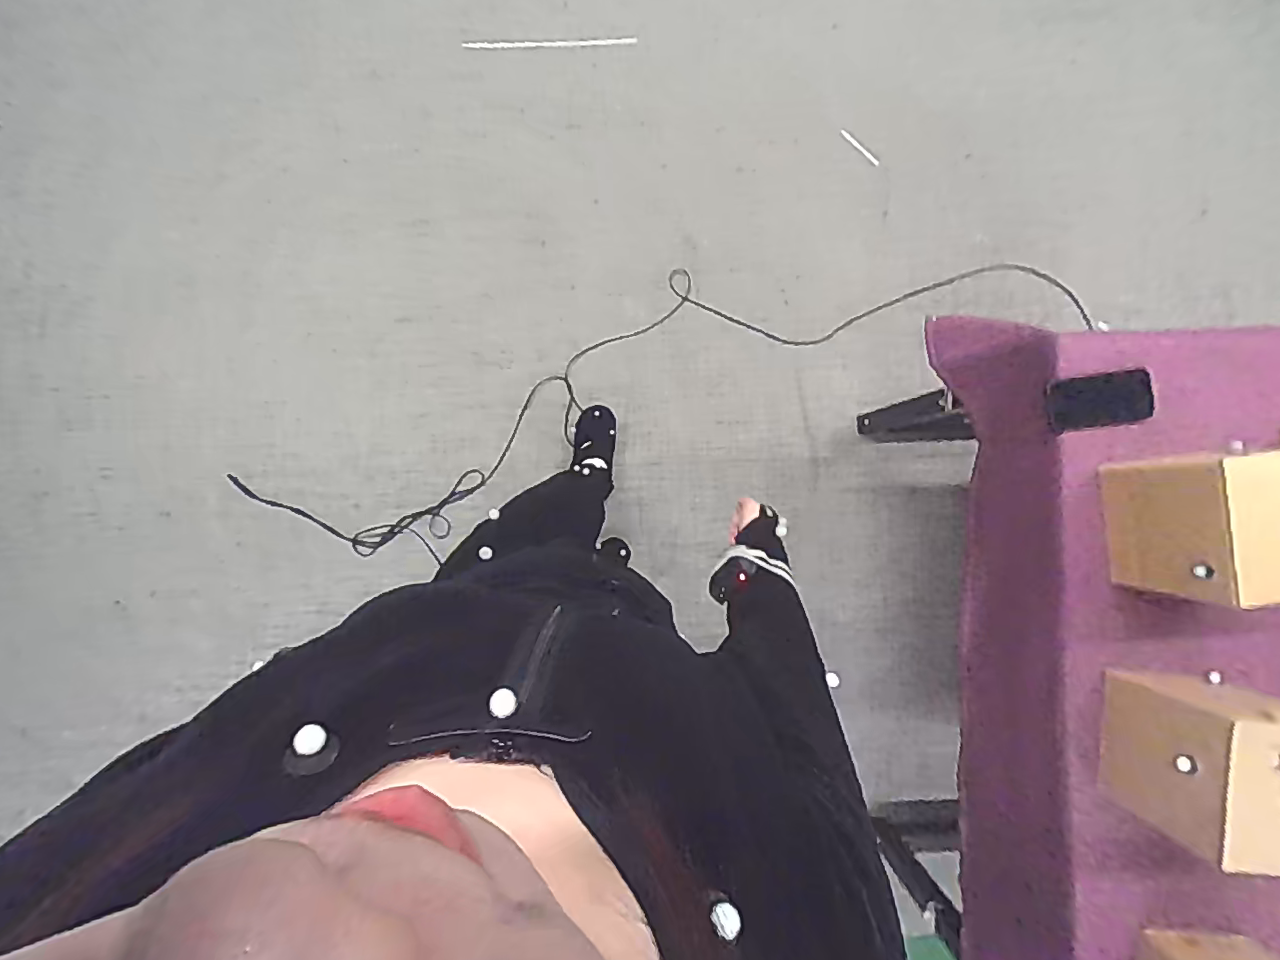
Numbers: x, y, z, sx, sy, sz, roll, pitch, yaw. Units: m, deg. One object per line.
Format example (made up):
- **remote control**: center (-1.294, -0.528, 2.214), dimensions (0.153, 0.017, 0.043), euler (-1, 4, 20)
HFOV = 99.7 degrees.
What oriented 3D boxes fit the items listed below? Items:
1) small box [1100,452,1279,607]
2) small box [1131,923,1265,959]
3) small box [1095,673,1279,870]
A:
- **small box**: center (0.762, 0.057, 0.717), dimensions (0.168, 0.176, 0.179), euler (-6, 91, -2)
- **small box**: center (0.788, 0.739, 0.707), dimensions (0.168, 0.176, 0.179), euler (6, 89, -2)
- **small box**: center (0.751, 0.370, 0.711), dimensions (0.168, 0.176, 0.179), euler (5, 90, -2)
